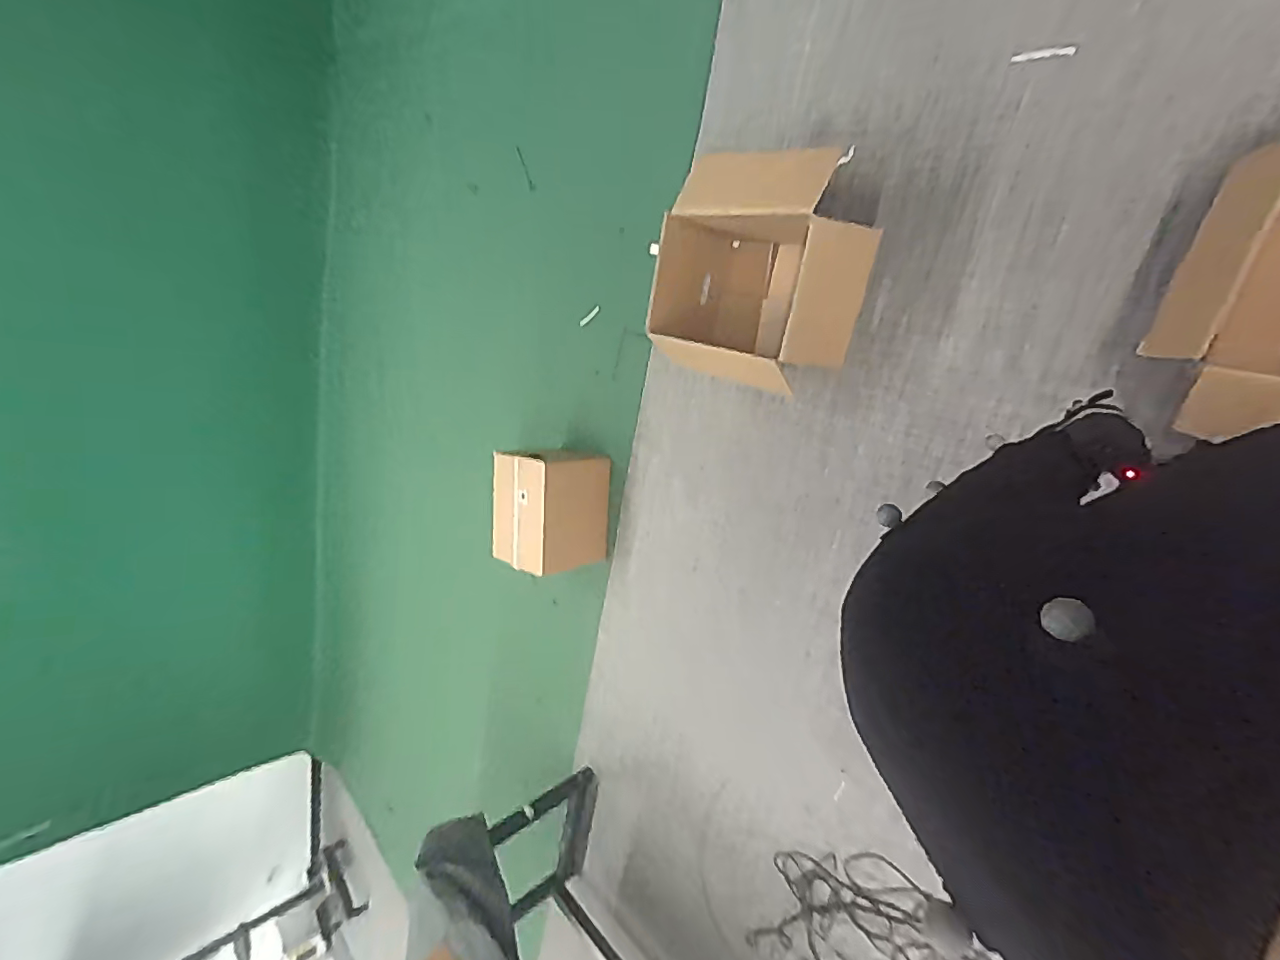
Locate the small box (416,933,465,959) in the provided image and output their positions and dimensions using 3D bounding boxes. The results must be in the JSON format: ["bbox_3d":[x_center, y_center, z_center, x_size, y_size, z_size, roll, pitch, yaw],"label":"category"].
[{"bbox_3d":[-0.585,1.477,1.553,0.179,0.176,0.168,28,114,38],"label":"small box"}]
